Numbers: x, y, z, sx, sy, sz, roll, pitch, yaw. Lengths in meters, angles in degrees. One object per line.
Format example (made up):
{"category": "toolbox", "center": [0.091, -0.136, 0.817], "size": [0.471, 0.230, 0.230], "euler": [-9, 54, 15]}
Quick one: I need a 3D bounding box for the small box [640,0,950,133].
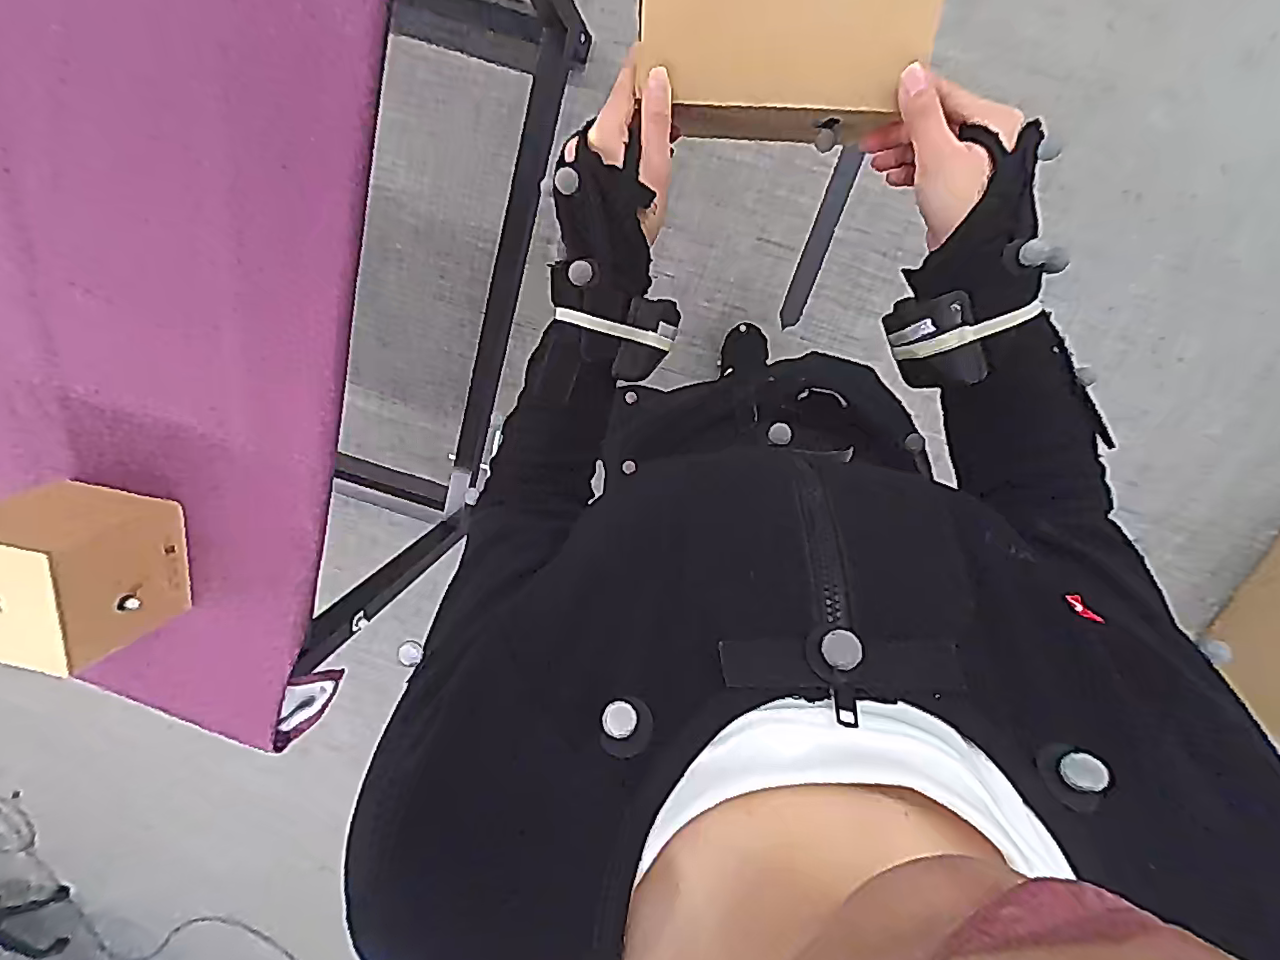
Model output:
{"category": "small box", "center": [0.098, -0.344, 0.365], "size": [0.179, 0.176, 0.168], "euler": [5, 116, 4]}

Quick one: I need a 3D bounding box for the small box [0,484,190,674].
{"category": "small box", "center": [-0.723, 0.115, 0.692], "size": [0.179, 0.176, 0.168], "euler": [10, 108, 4]}
